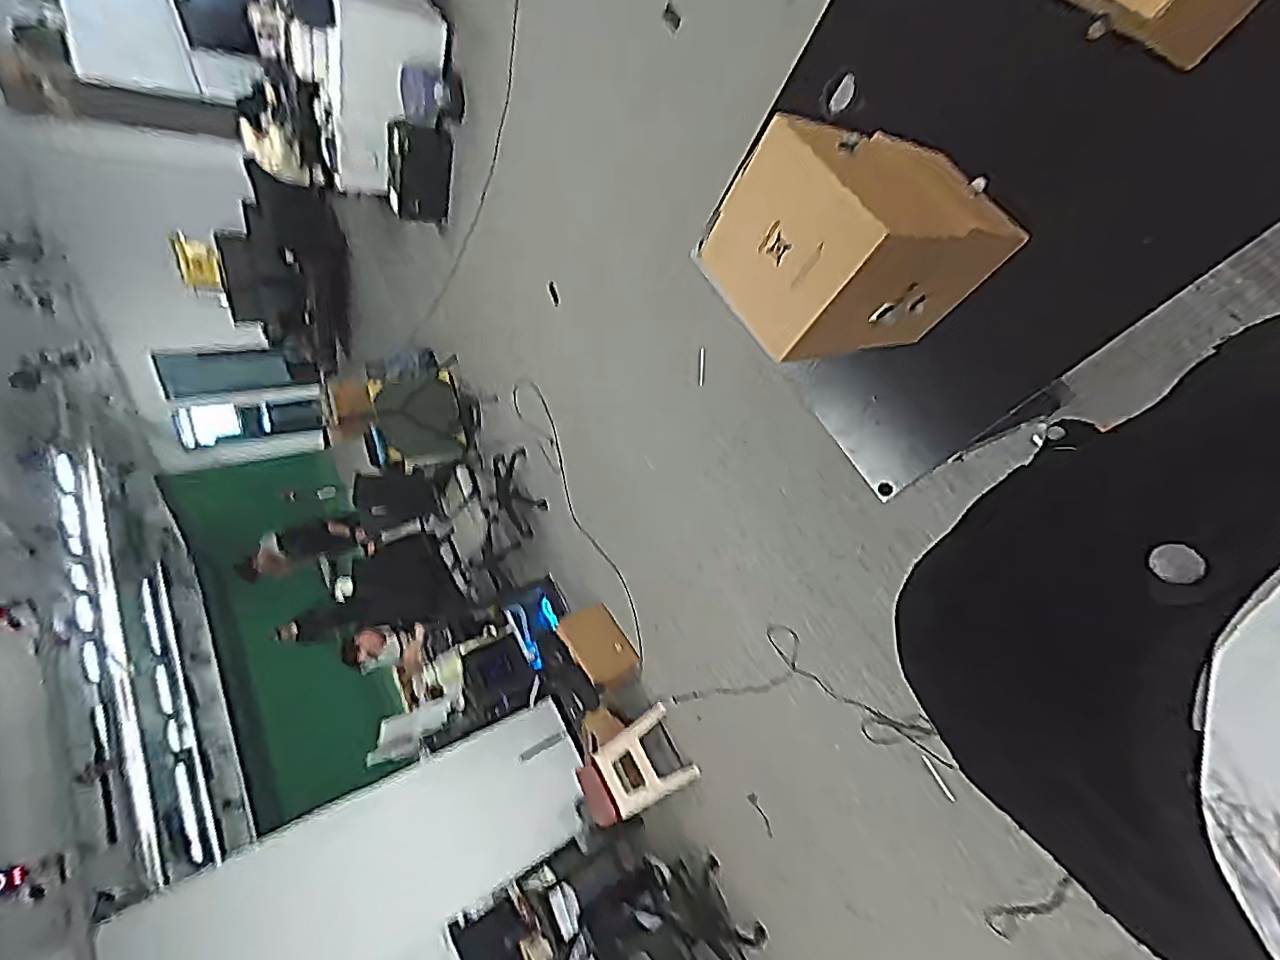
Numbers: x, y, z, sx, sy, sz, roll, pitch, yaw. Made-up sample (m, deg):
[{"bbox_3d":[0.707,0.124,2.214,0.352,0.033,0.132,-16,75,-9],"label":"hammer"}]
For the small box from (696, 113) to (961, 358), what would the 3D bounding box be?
[{"bbox_3d":[0.201,-0.258,0.595,0.179,0.176,0.168,58,142,20],"label":"small box"}]

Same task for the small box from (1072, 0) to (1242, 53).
[{"bbox_3d":[0.455,-0.497,0.450,0.179,0.176,0.168,58,141,21],"label":"small box"}]

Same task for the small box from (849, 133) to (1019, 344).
[{"bbox_3d":[0.328,-0.295,0.689,0.168,0.176,0.179,60,140,20],"label":"small box"}]
